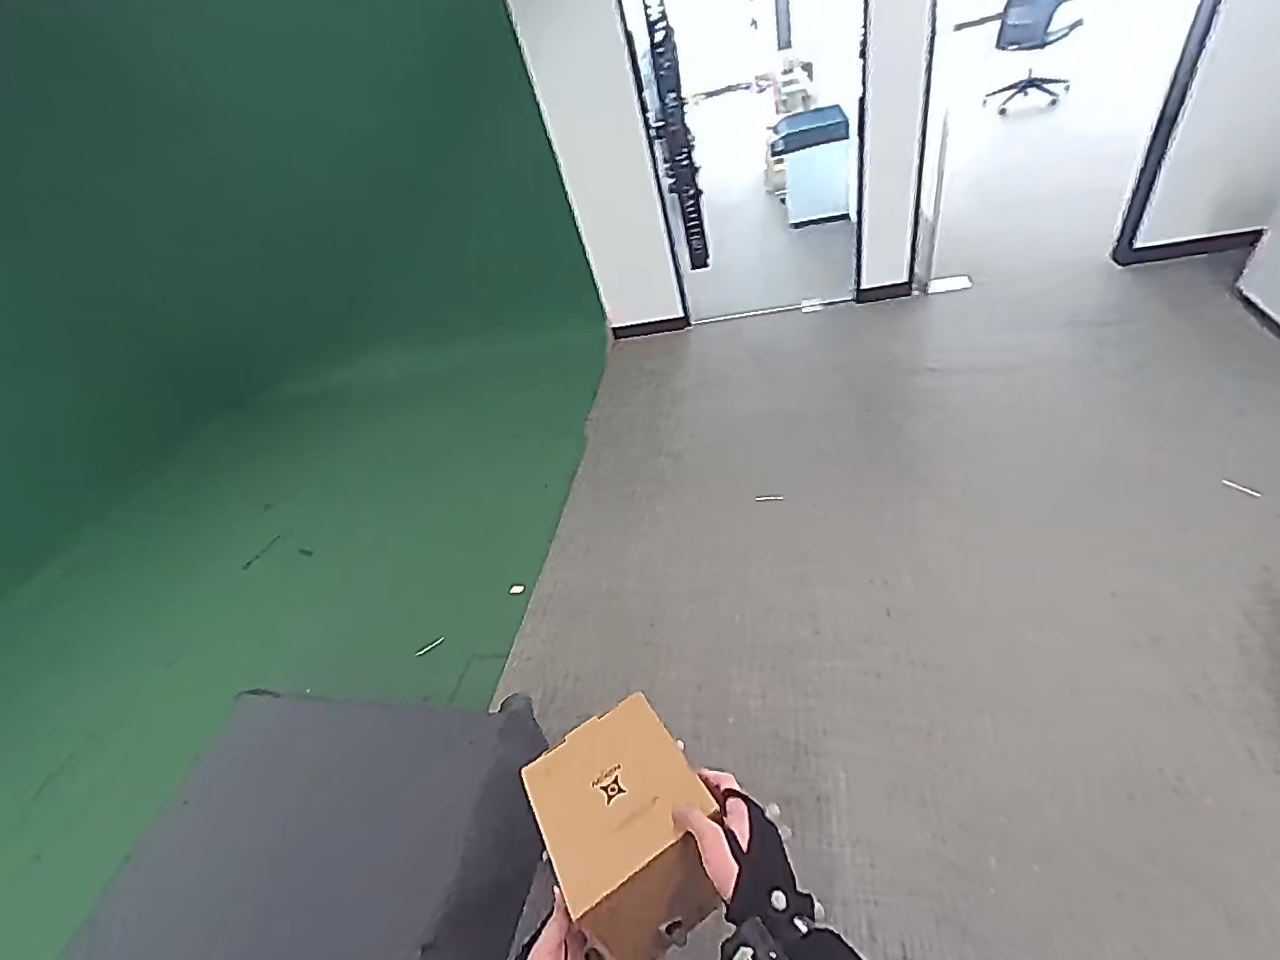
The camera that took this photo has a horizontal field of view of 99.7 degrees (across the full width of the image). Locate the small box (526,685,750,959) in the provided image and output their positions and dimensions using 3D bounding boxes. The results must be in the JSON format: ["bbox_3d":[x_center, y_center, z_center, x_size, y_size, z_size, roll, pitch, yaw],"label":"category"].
[{"bbox_3d":[-0.003,0.379,0.604,0.168,0.176,0.179,-29,31,-14],"label":"small box"}]
